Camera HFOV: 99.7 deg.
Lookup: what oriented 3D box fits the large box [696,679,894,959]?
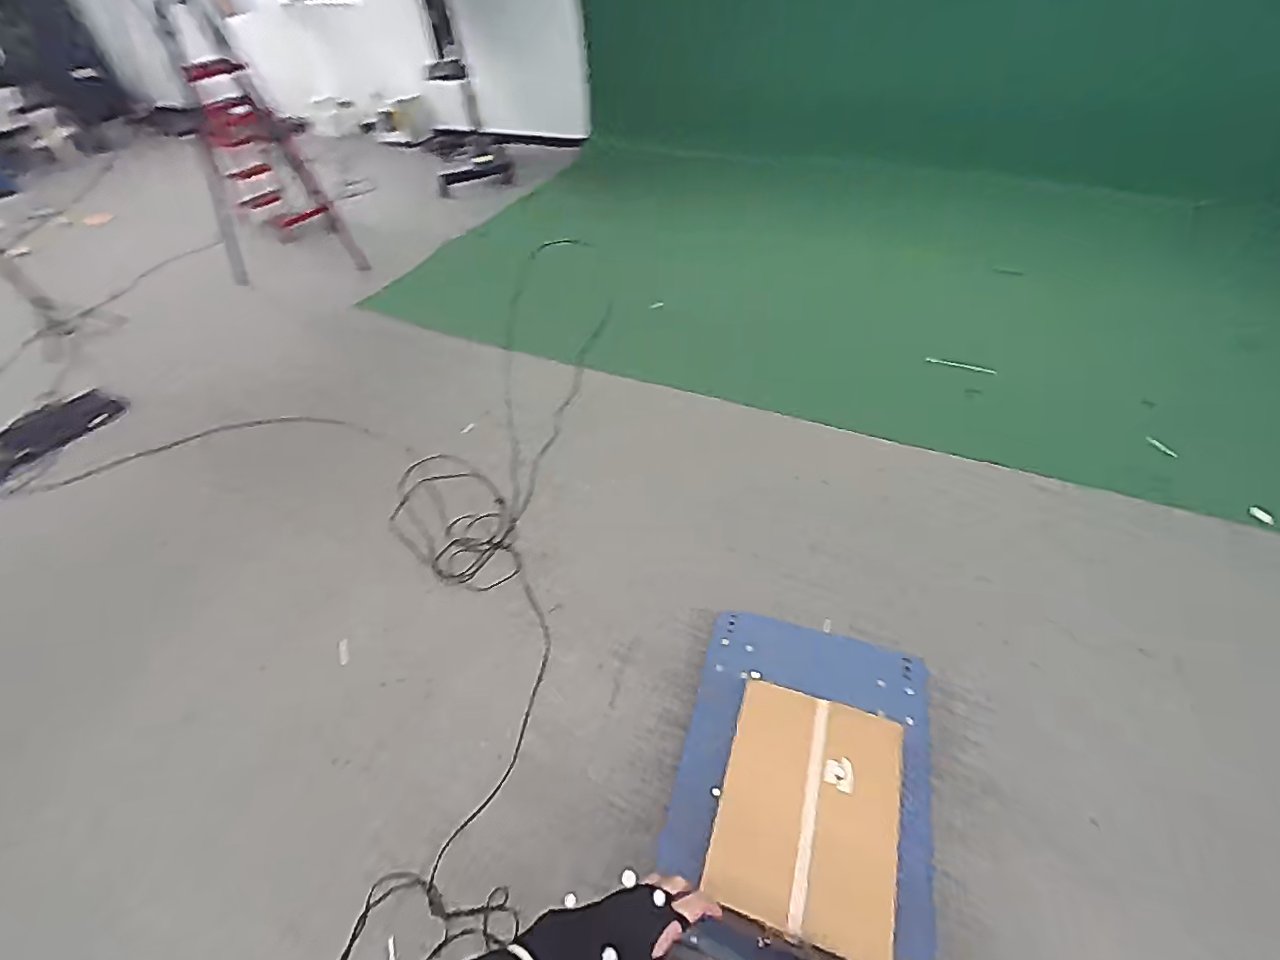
[{"bbox_3d":[0.310,0.699,1.104,0.320,0.320,0.408,13,49,15],"label":"large box"}]
